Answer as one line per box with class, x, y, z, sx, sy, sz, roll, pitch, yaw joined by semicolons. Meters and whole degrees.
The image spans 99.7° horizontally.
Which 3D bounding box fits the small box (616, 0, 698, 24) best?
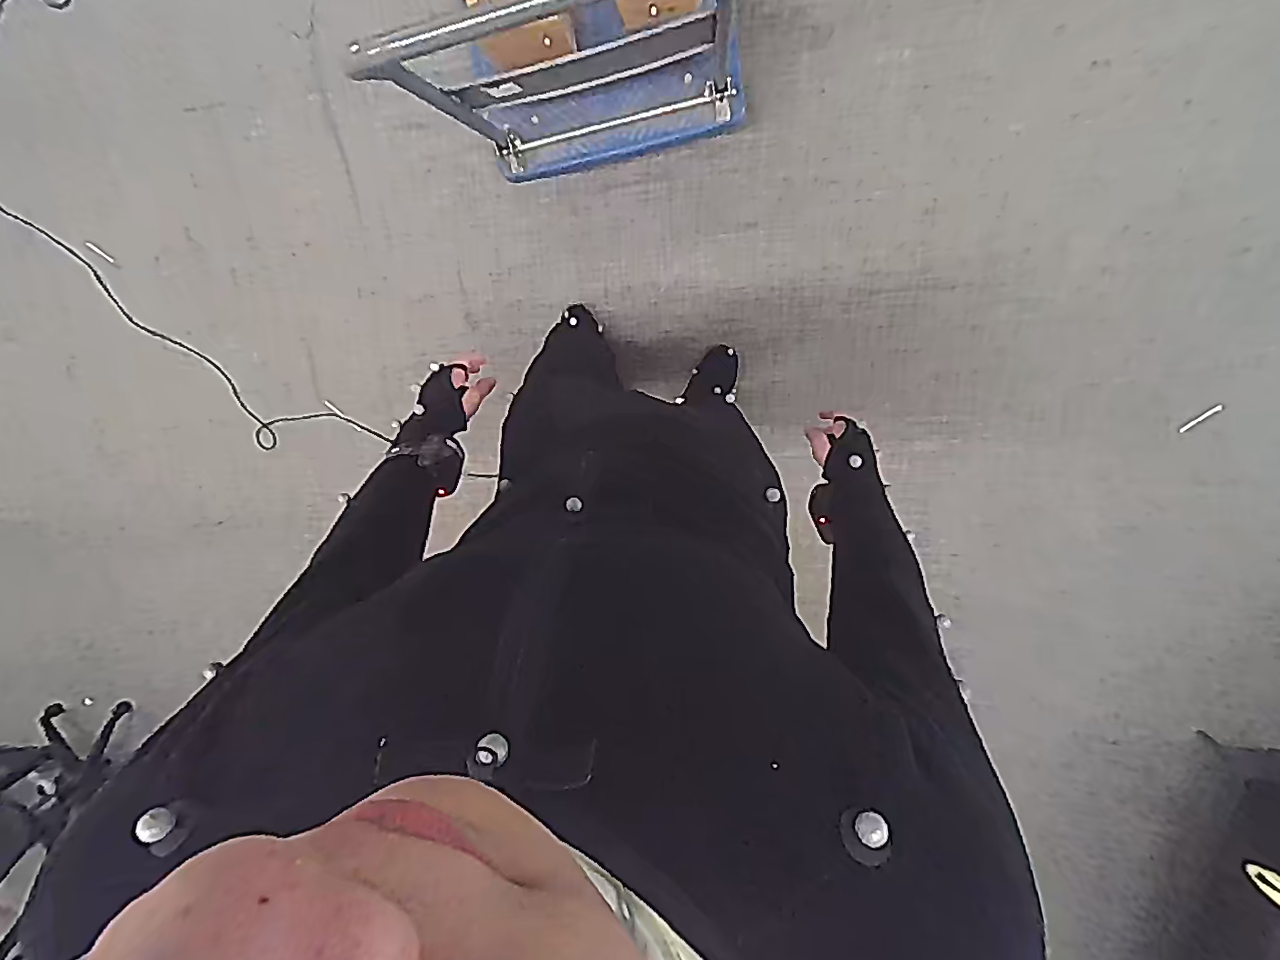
small box;0.019;-1.019;1.022;0.168;0.176;0.179;-6;109;10
